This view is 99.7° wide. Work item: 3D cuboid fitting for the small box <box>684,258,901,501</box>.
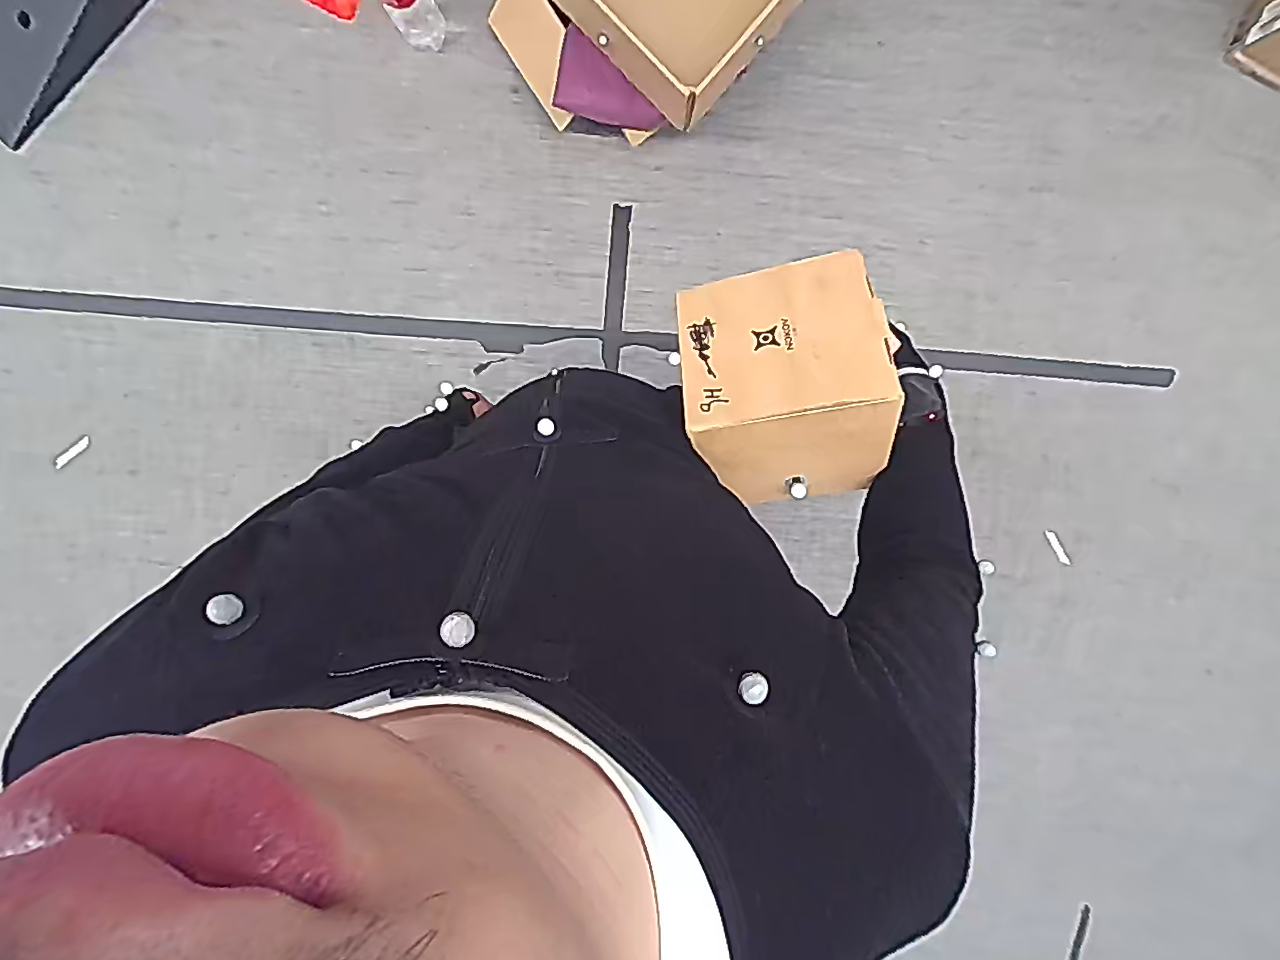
[{"bbox_3d":[0.149,-0.092,0.562,0.179,0.176,0.168,-8,61,14],"label":"small box"}]
